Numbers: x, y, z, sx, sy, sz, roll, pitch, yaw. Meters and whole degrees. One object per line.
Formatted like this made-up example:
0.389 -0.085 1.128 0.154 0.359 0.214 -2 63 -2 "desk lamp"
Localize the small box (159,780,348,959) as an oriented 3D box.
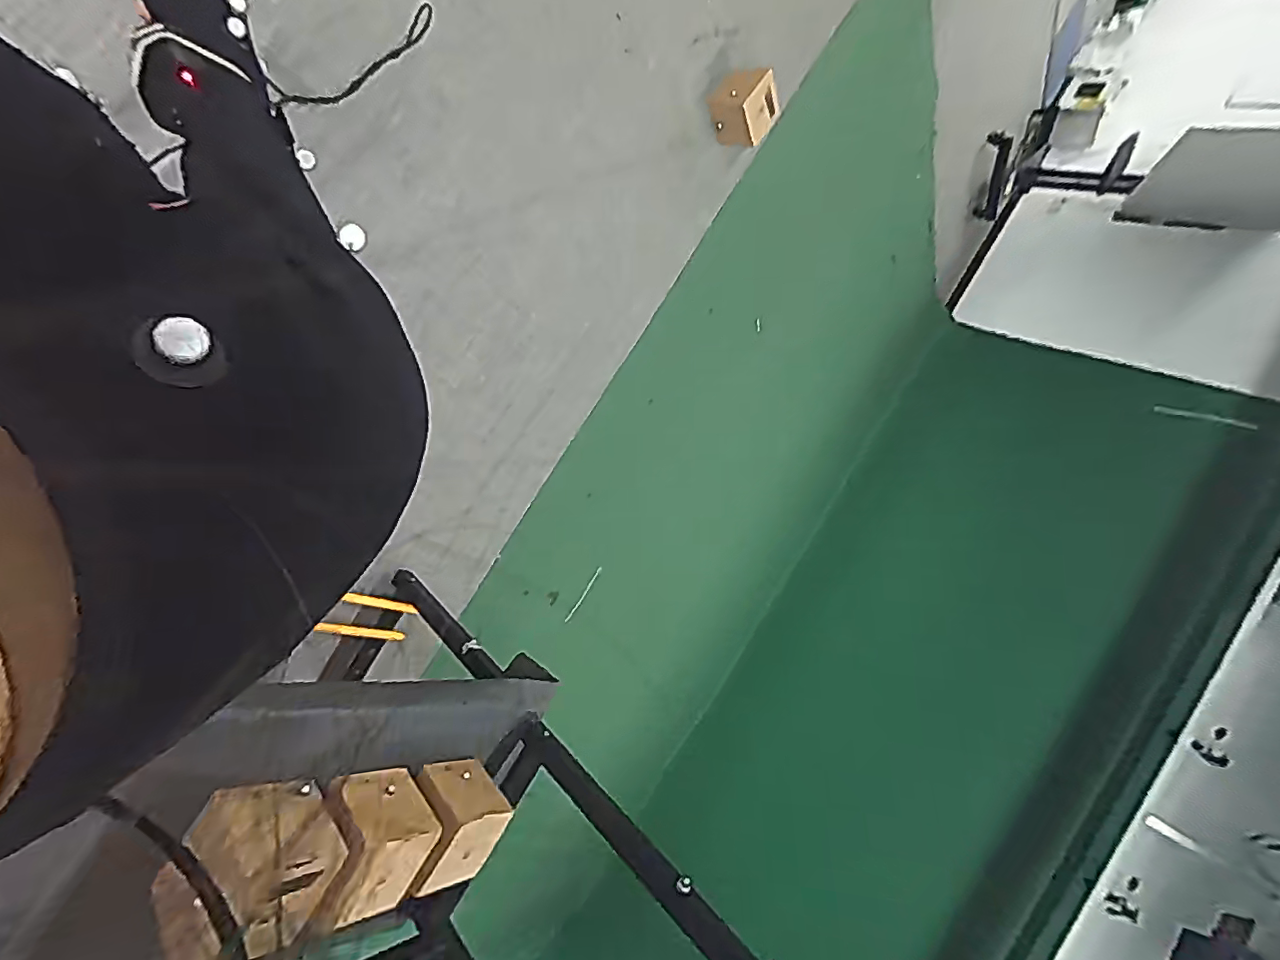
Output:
-0.616 0.606 0.860 0.179 0.176 0.168 -57 145 -2 "small box"
